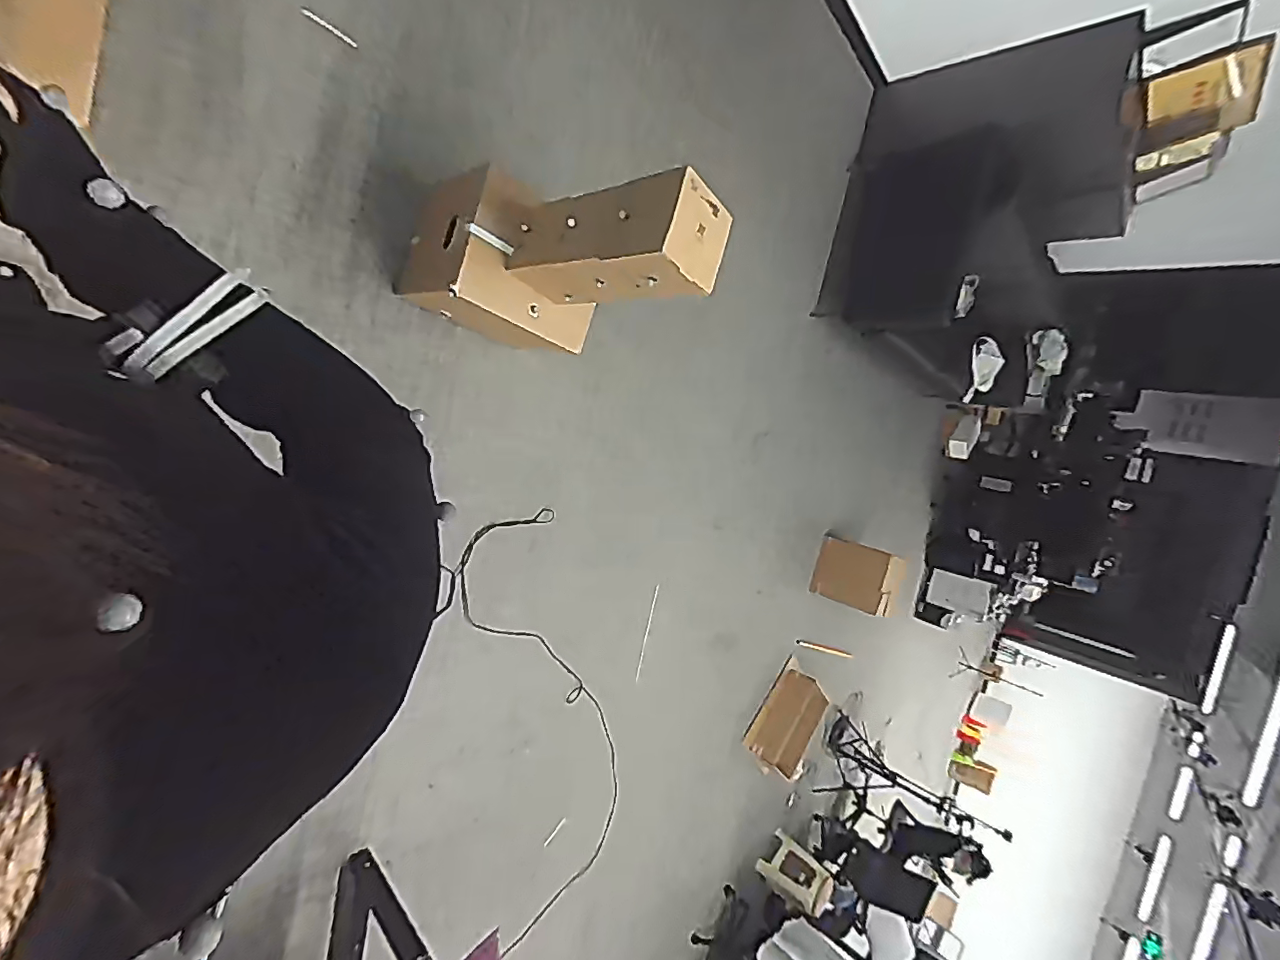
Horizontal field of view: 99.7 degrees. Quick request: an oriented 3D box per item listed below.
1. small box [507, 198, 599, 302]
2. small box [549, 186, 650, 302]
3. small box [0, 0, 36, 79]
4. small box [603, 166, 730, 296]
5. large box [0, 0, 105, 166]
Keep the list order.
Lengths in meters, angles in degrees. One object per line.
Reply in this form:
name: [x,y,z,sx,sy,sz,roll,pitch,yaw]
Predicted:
small box: [-0.187,-0.546,1.309,0.179,0.176,0.168,22,84,-48]
small box: [-0.068,-0.512,1.201,0.179,0.176,0.168,23,82,-47]
small box: [-0.818,-0.610,0.616,0.168,0.176,0.179,10,94,-48]
small box: [0.050,-0.487,1.090,0.168,0.176,0.179,22,84,-48]
large box: [-0.981,-0.746,0.765,0.320,0.320,0.408,7,96,-48]
